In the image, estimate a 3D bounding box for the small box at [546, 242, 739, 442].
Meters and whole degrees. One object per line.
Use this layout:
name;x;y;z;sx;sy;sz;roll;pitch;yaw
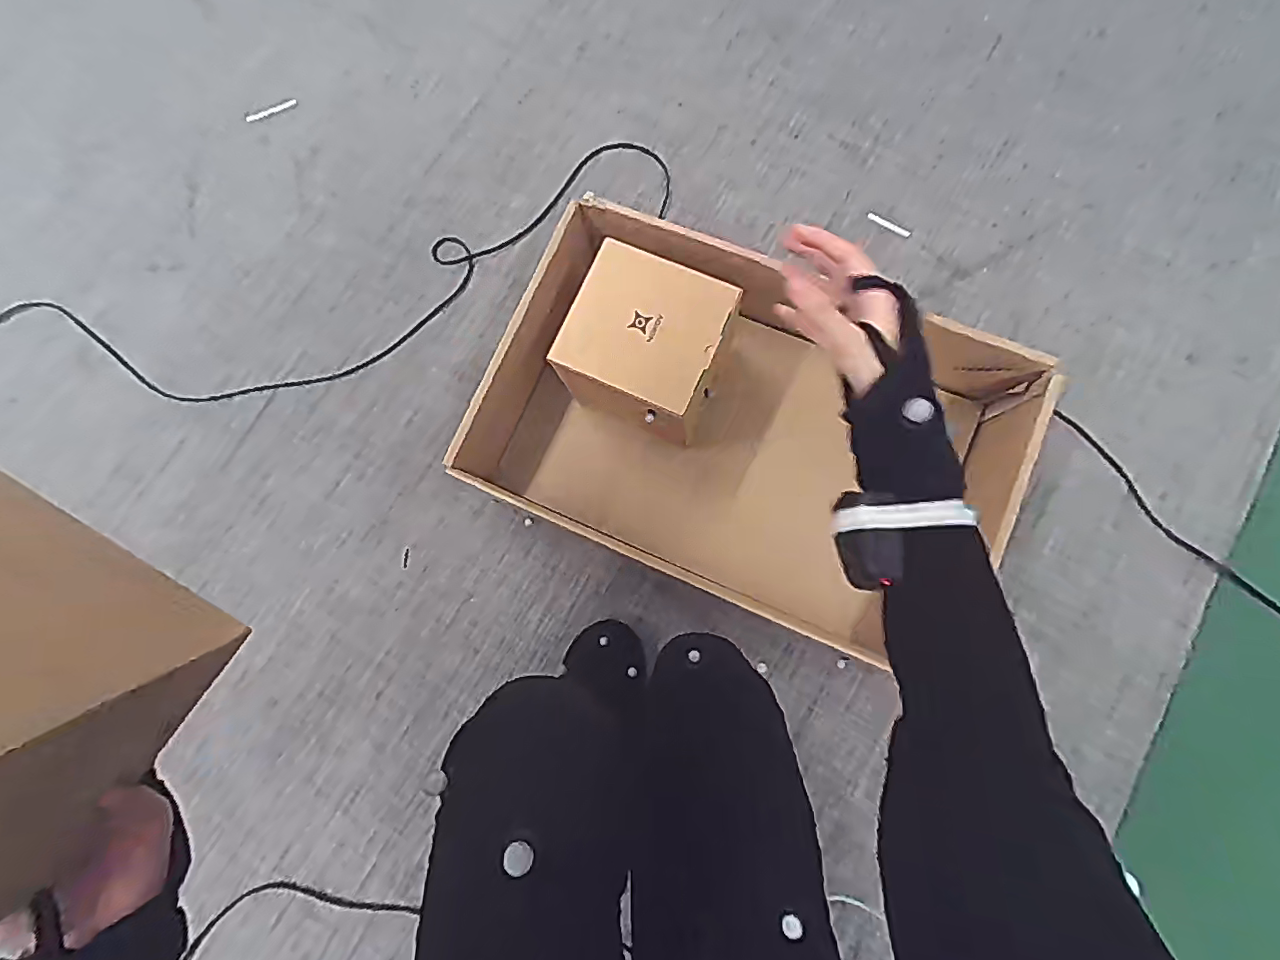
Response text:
small box;0.008;-0.163;0.696;0.179;0.176;0.168;24;84;7
